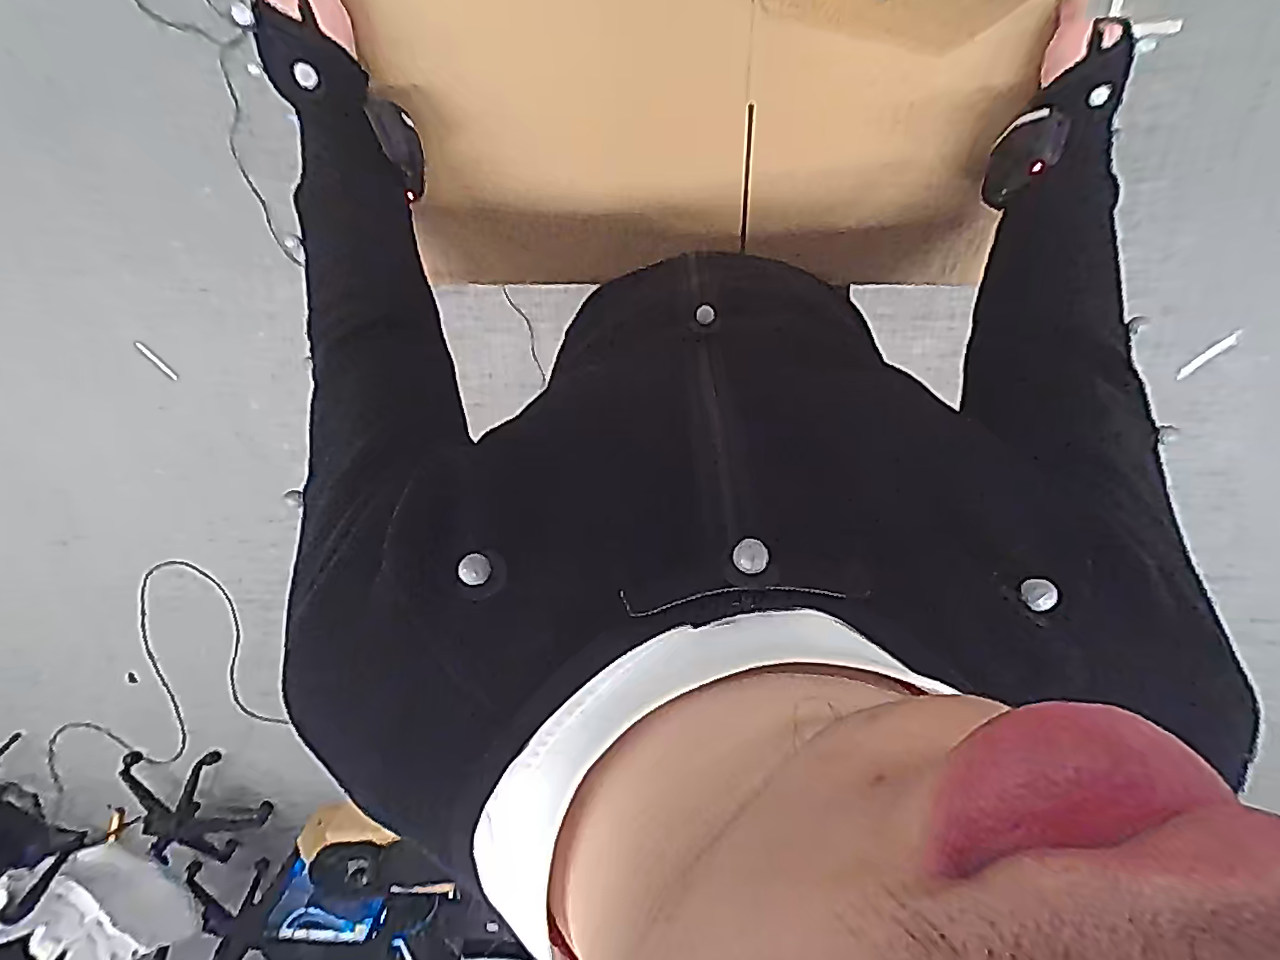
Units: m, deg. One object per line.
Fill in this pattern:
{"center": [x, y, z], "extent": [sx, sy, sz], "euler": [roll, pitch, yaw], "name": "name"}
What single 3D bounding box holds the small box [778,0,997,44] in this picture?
{"center": [0.211, -0.451, 0.382], "extent": [0.179, 0.176, 0.168], "euler": [10, 110, -5], "name": "small box"}
